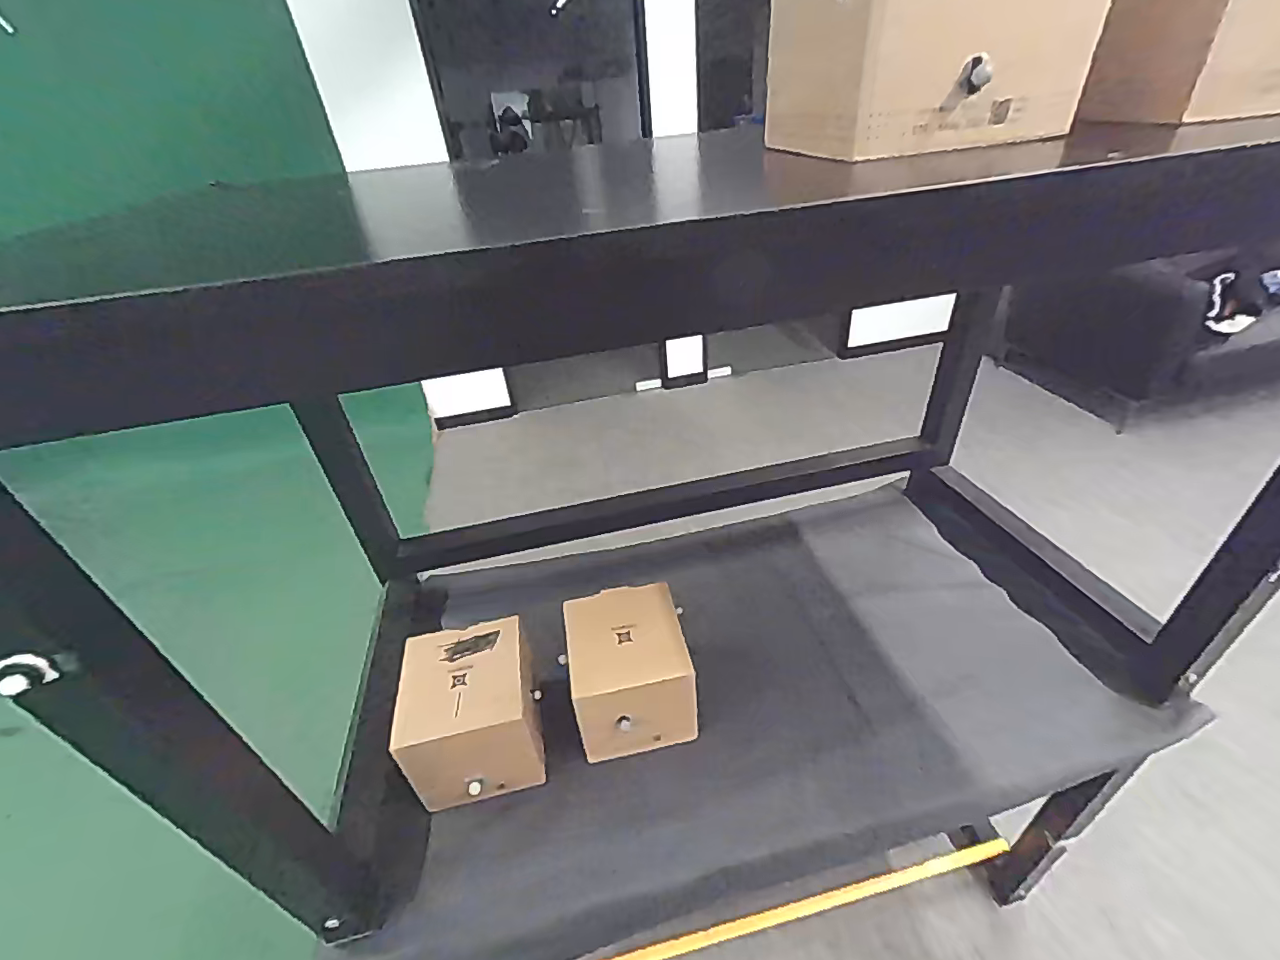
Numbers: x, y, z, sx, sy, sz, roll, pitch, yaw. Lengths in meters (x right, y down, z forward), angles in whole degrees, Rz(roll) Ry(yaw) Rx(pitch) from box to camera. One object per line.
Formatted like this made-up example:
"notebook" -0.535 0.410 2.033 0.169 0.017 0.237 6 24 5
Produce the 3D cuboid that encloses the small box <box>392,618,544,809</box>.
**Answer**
"small box" -0.238 0.336 0.788 0.168 0.176 0.179 -10 35 -7

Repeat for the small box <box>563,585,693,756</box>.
"small box" -0.018 0.293 0.824 0.168 0.176 0.179 -10 34 -6

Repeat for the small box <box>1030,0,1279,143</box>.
"small box" 0.454 -0.367 0.418 0.168 0.176 0.179 -4 34 2
